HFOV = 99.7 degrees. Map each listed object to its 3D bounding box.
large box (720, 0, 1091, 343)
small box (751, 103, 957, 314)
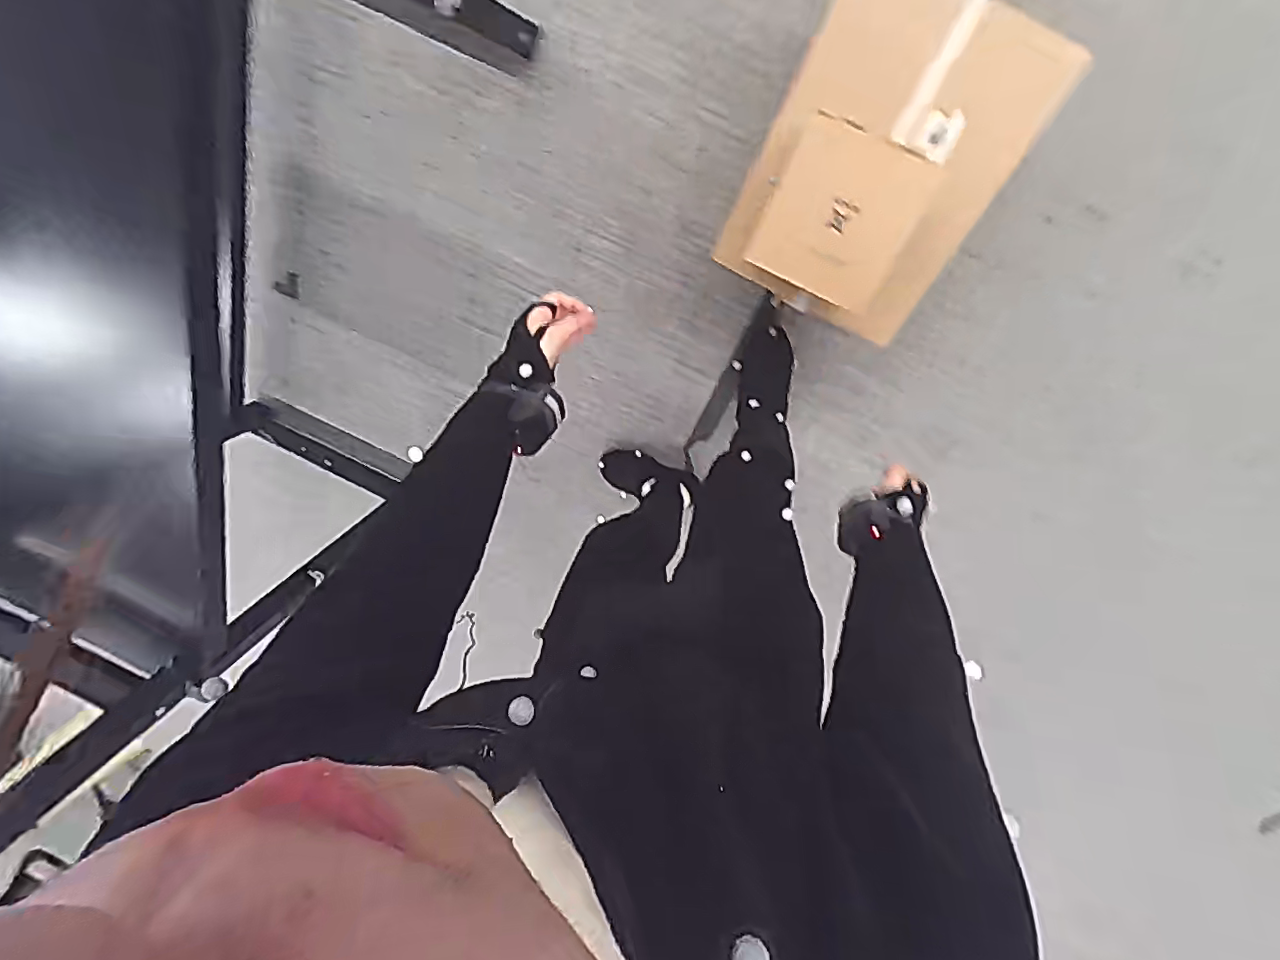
[{"bbox_3d":[0.368,-0.497,0.876,0.320,0.320,0.408,27,120,-1],"label":"large box"},{"bbox_3d":[0.262,-0.345,0.699,0.168,0.176,0.179,28,121,2],"label":"small box"}]
